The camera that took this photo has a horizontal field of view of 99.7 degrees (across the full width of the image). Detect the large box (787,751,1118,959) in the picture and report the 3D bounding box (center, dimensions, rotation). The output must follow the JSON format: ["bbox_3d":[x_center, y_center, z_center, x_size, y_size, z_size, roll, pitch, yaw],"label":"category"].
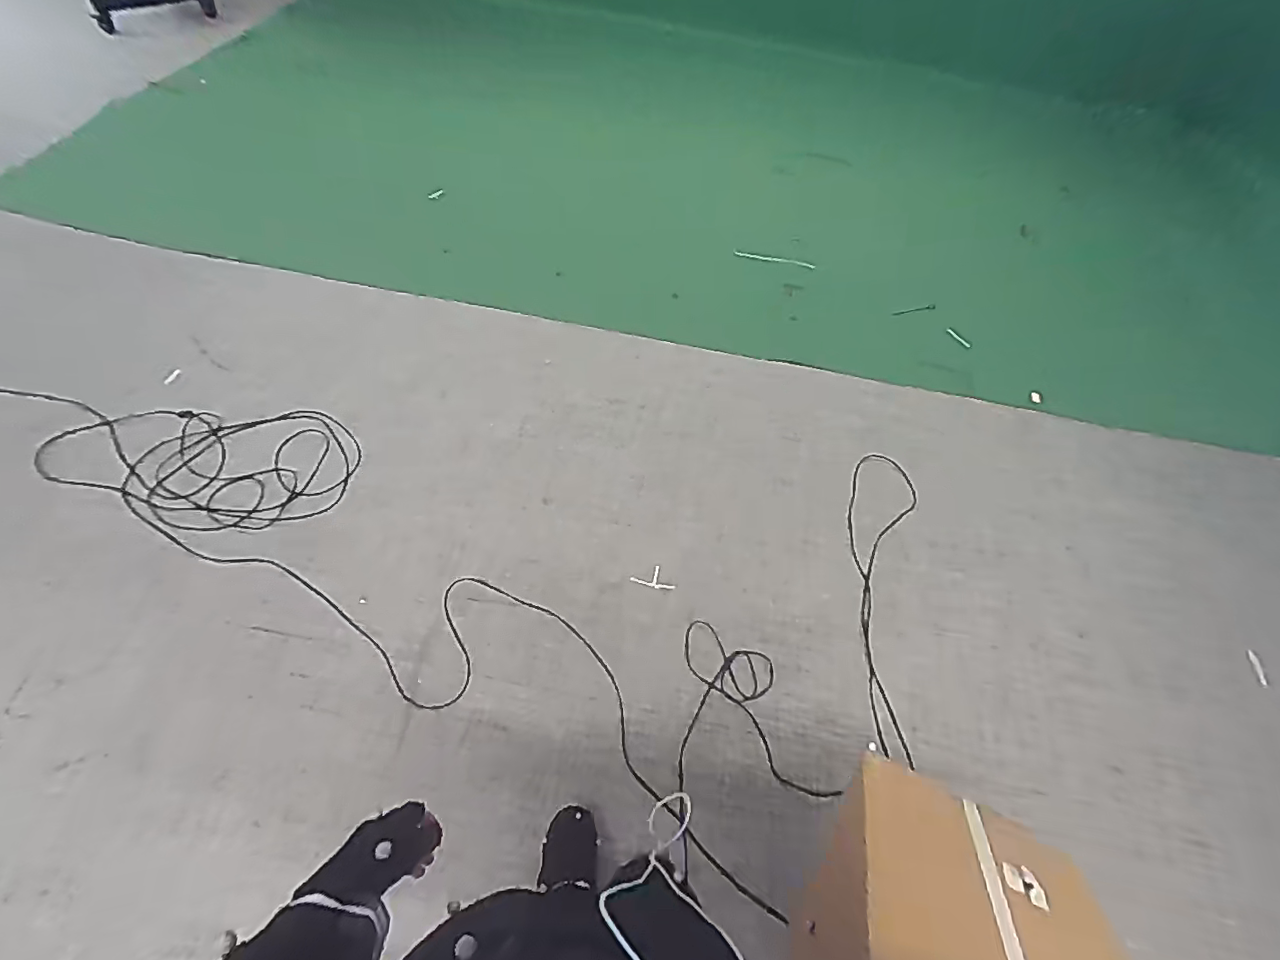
[{"bbox_3d":[0.380,0.660,0.692,0.320,0.320,0.408,24,14,18],"label":"large box"}]
